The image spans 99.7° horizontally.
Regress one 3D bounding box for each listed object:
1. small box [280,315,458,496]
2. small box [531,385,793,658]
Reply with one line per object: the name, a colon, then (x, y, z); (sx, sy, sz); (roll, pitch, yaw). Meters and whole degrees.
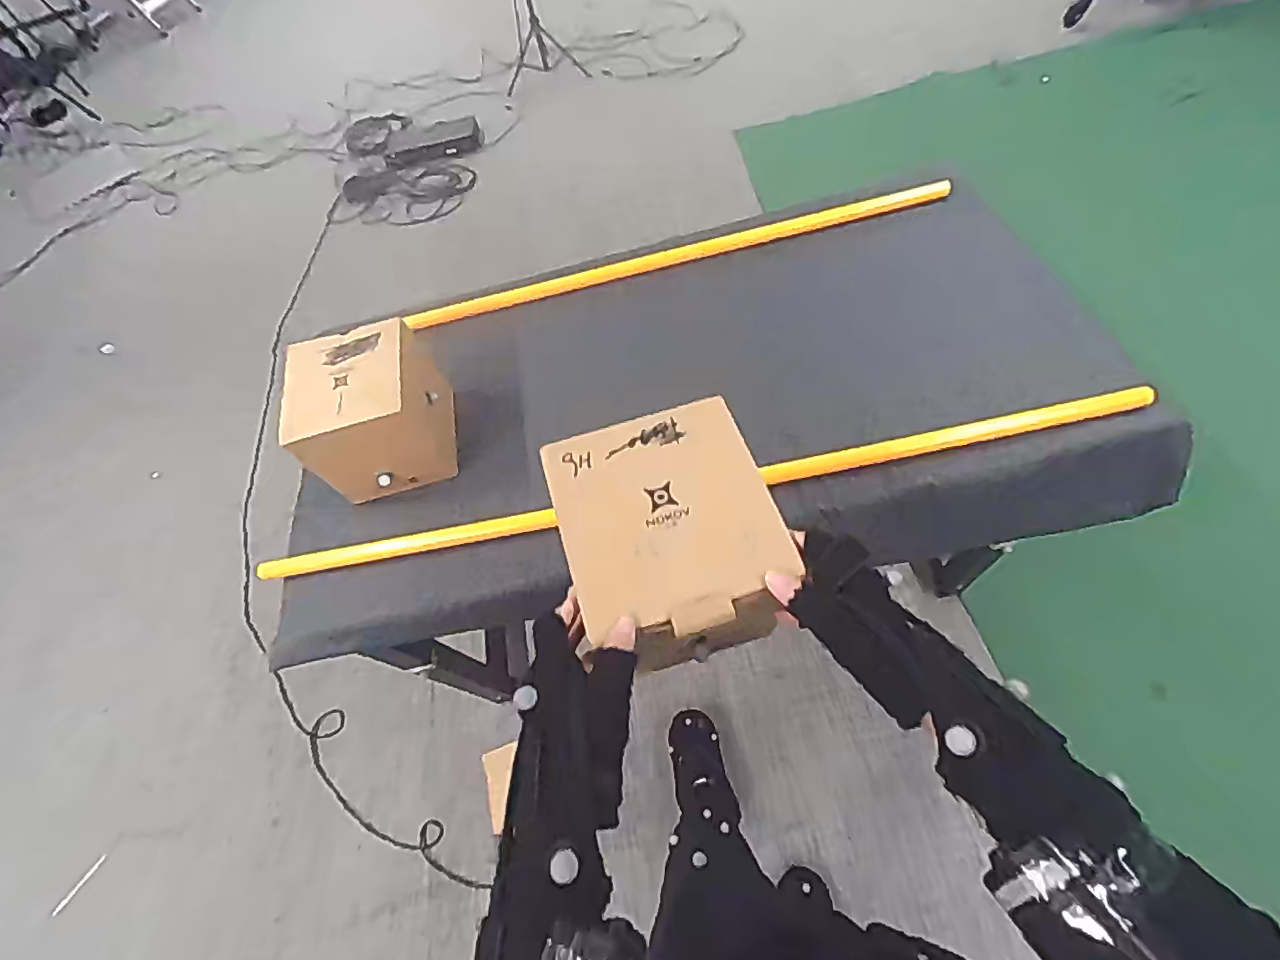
small box: (-0.381, -0.103, 0.791); (0.168, 0.176, 0.179); (-16, 60, 1)
small box: (0.019, 0.050, 0.498); (0.168, 0.176, 0.179); (-20, 62, -5)
